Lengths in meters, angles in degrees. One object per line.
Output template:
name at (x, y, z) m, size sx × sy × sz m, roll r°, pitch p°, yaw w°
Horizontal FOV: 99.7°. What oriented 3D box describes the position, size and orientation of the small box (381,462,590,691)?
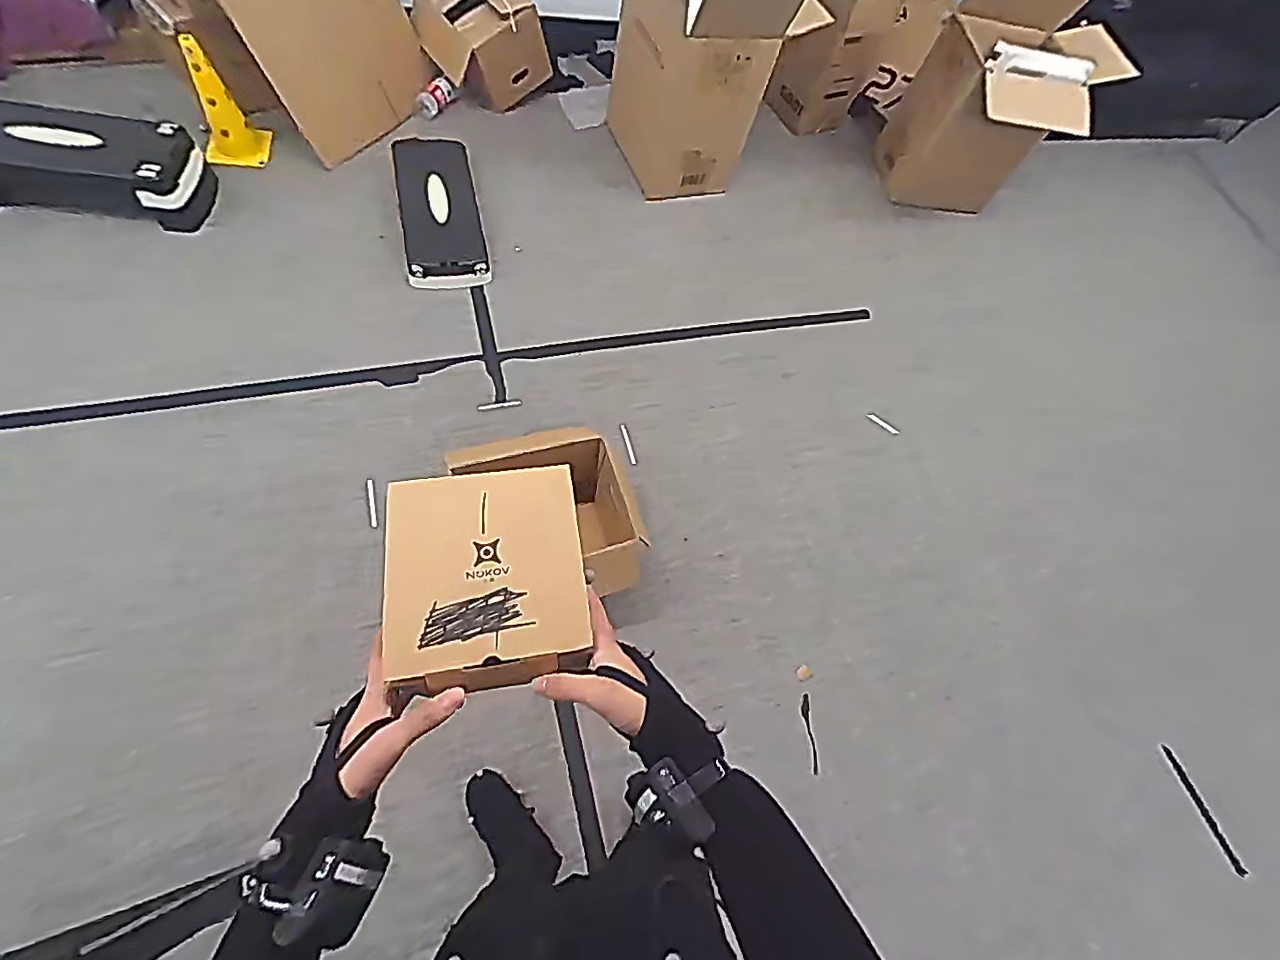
small box at (-0.140, 0.103, 0.530) m, size 0.168 × 0.176 × 0.179 m, roll -6°, pitch 65°, yaw -10°
